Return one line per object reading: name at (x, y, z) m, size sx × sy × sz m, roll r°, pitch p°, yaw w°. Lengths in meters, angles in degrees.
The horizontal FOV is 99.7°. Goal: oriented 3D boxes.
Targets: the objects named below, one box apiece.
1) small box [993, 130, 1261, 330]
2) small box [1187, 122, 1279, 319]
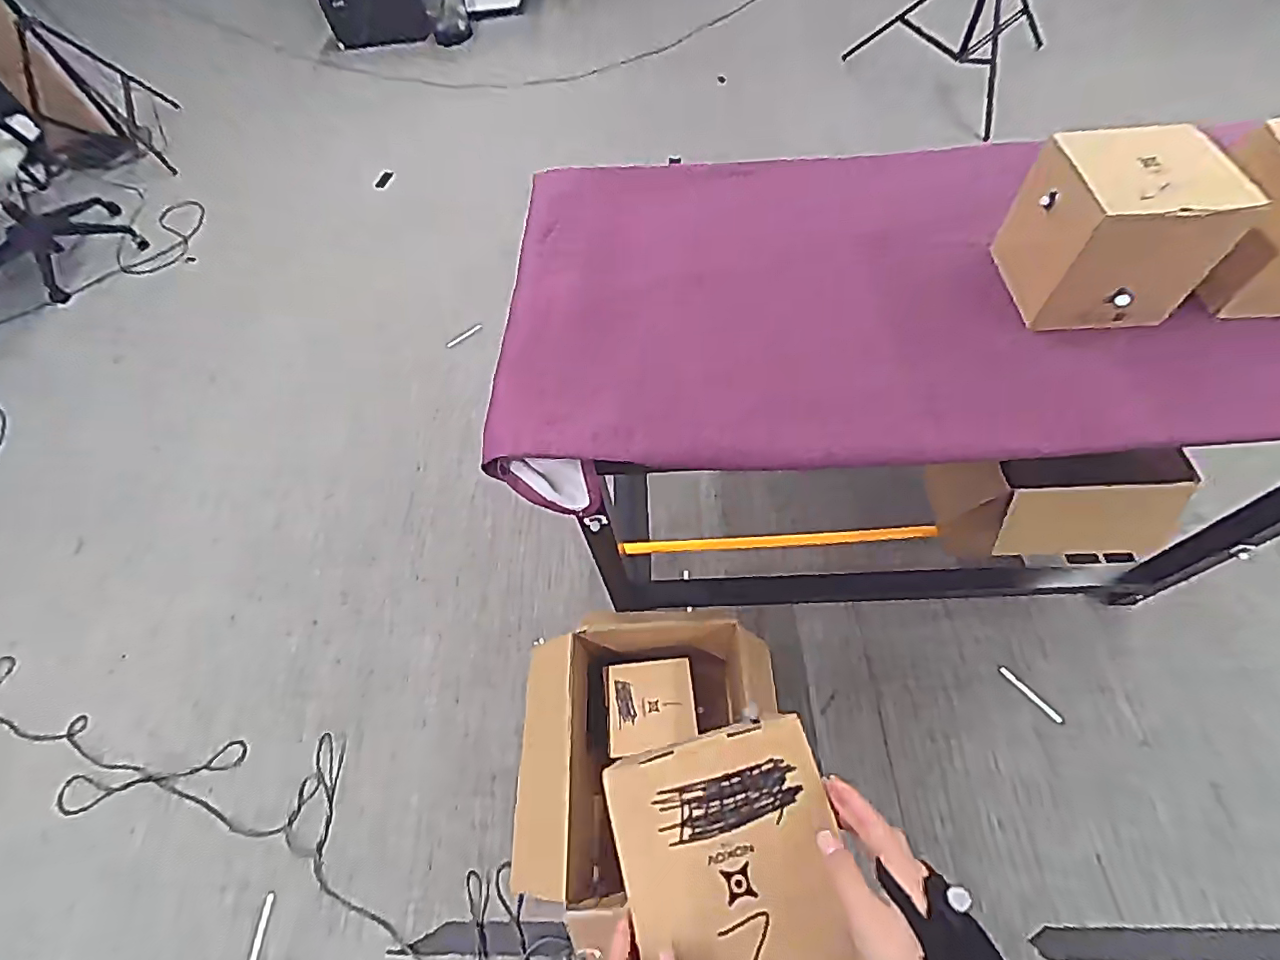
small box at (0.595, -0.316, 0.697) m, size 0.168 × 0.176 × 0.179 m, roll -1°, pitch 58°, yaw 6°
small box at (0.835, -0.320, 0.678) m, size 0.179 × 0.176 × 0.168 m, roll 1°, pitch 58°, yaw 7°
